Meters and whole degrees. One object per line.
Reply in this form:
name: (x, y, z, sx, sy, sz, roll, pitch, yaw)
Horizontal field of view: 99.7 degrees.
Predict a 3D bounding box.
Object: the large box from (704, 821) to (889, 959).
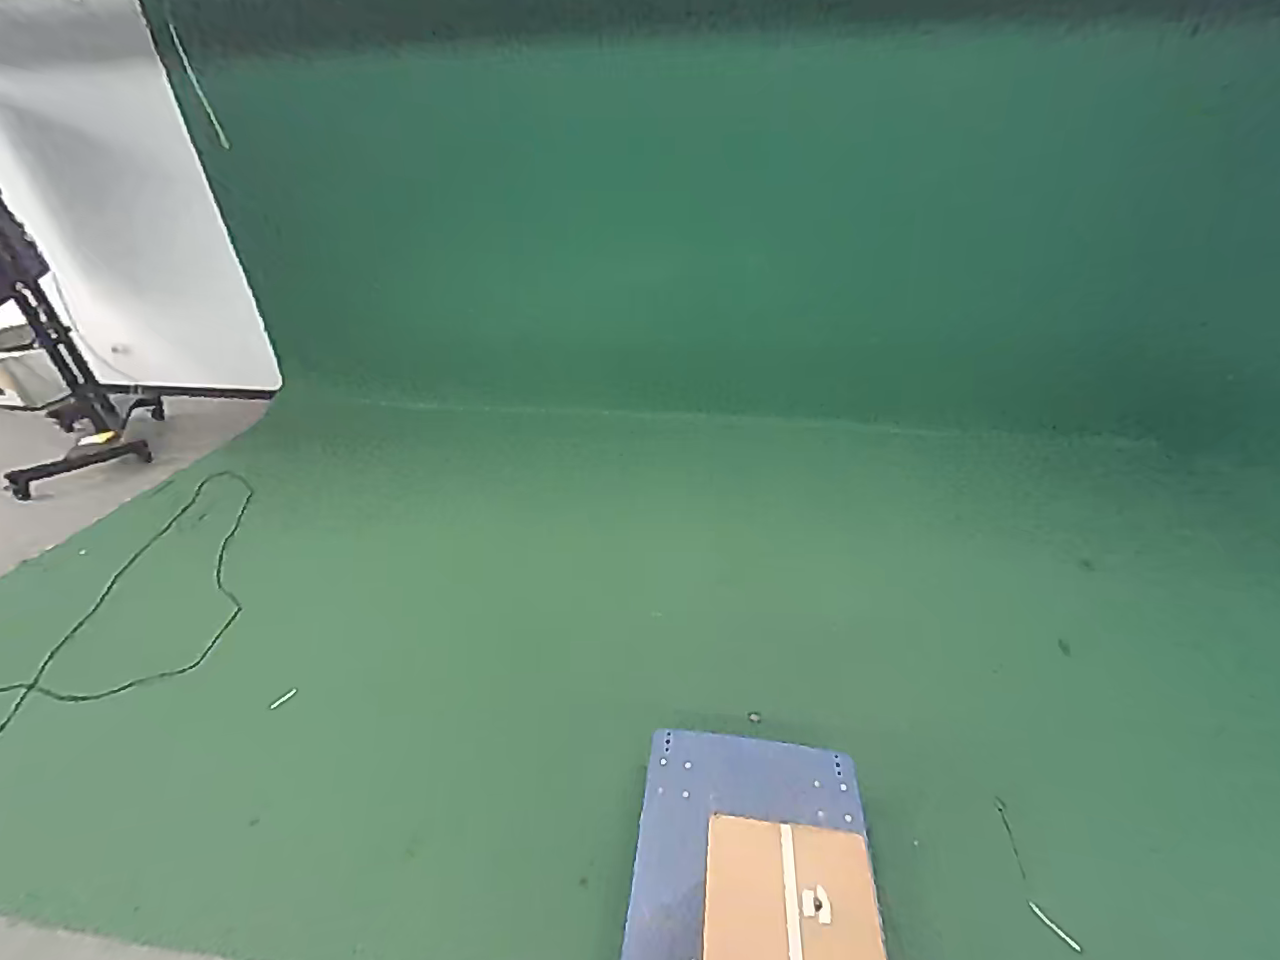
large box: (0.276, 0.941, 1.005, 0.320, 0.320, 0.408, 4, 31, 7)
